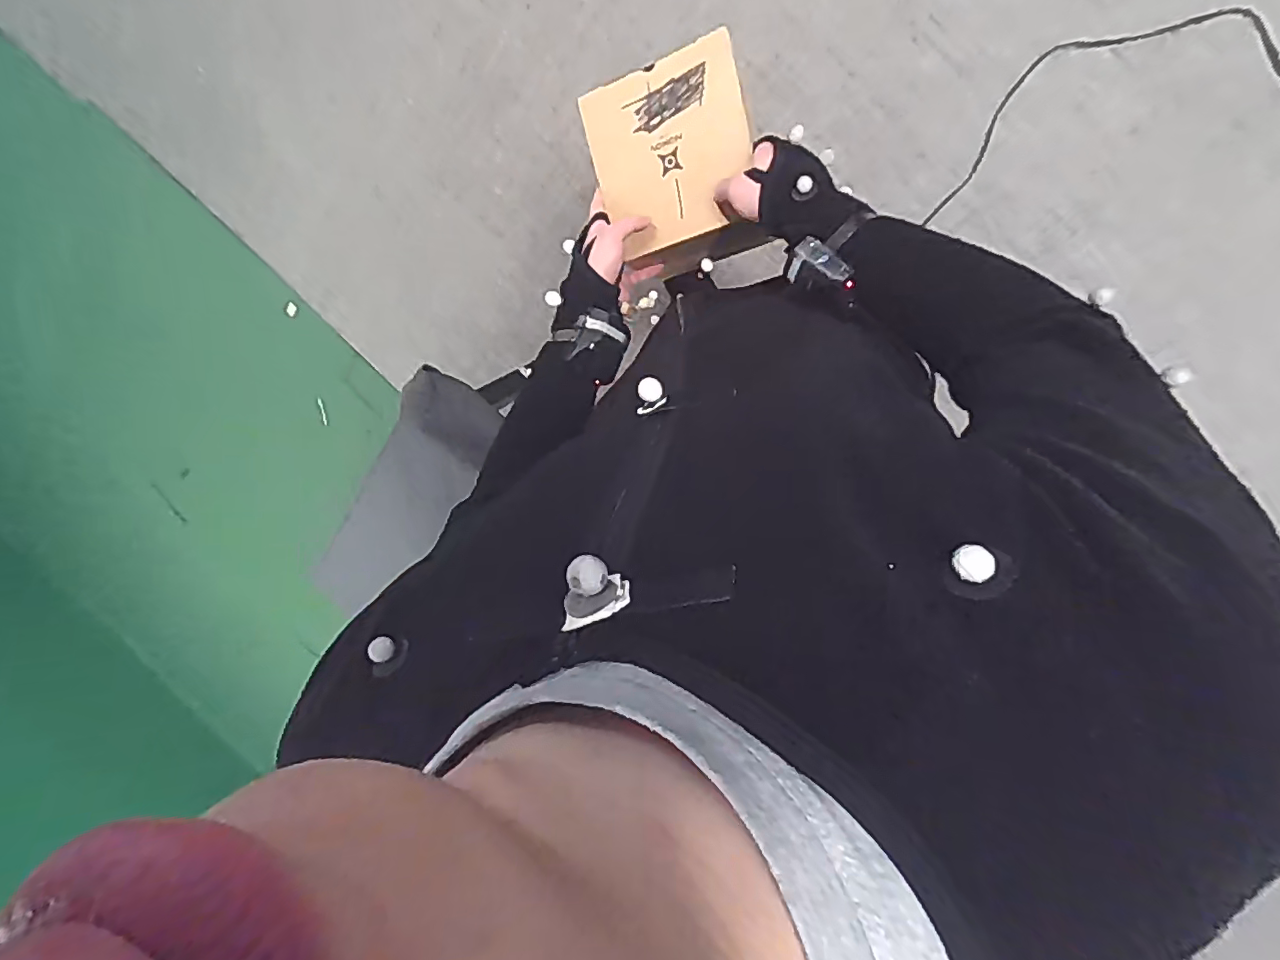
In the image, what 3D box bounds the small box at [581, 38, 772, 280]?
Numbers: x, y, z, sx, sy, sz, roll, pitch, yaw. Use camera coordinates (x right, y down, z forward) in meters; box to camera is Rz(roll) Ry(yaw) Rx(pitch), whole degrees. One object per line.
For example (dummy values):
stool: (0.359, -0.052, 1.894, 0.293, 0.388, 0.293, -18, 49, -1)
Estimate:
small box: (0.054, -0.358, 0.647, 0.168, 0.176, 0.179, -11, 99, 22)
